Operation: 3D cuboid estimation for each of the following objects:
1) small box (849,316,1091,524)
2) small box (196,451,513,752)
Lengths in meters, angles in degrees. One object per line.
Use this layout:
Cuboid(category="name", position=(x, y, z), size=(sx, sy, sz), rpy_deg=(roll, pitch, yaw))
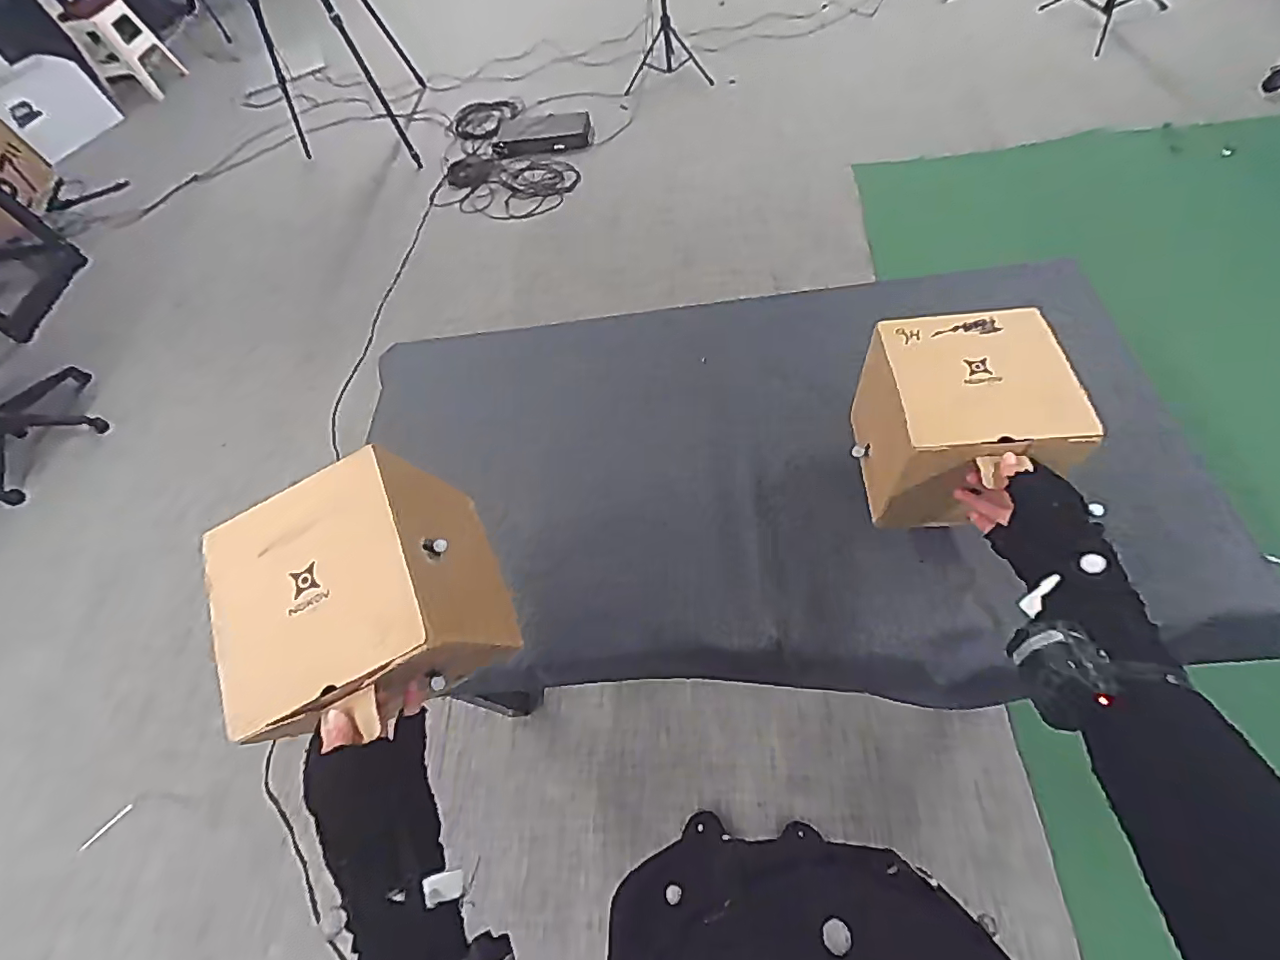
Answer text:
Cuboid(category="small box", position=(0.349, -0.057, 0.615), size=(0.168, 0.176, 0.179), rpy_deg=(-2, 58, 8))
Cuboid(category="small box", position=(-0.237, 0.108, 0.478), size=(0.168, 0.176, 0.179), rpy_deg=(-28, 67, 1))
